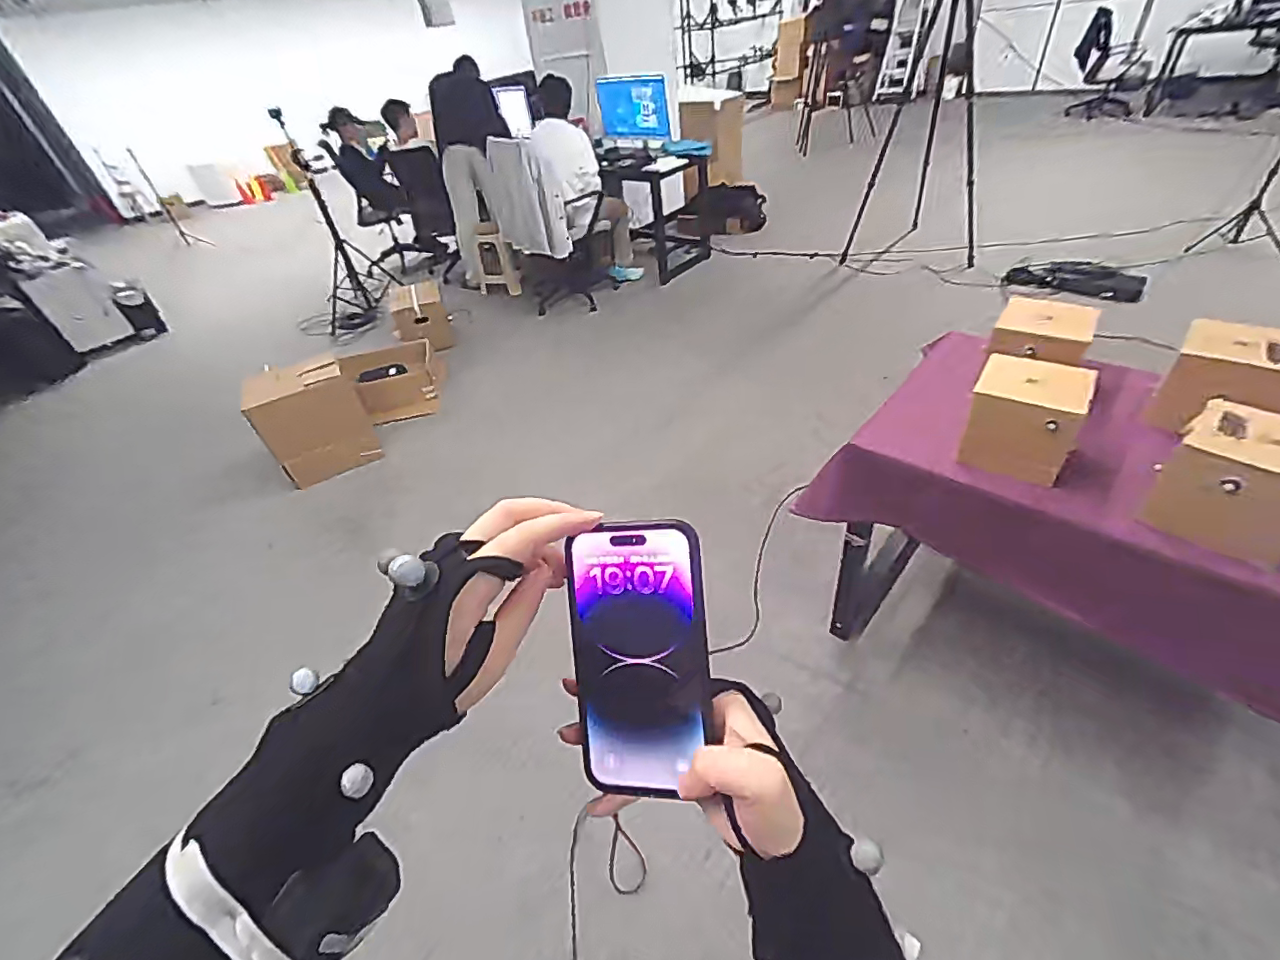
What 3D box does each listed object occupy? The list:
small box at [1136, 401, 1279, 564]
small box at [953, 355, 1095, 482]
[{"bbox_3d":[0.963,0.004,0.874,0.168,0.176,0.179,-34,47,-26],"label":"small box"},{"bbox_3d":[0.744,-0.121,1.060,0.179,0.176,0.168,23,49,30],"label":"small box"}]
